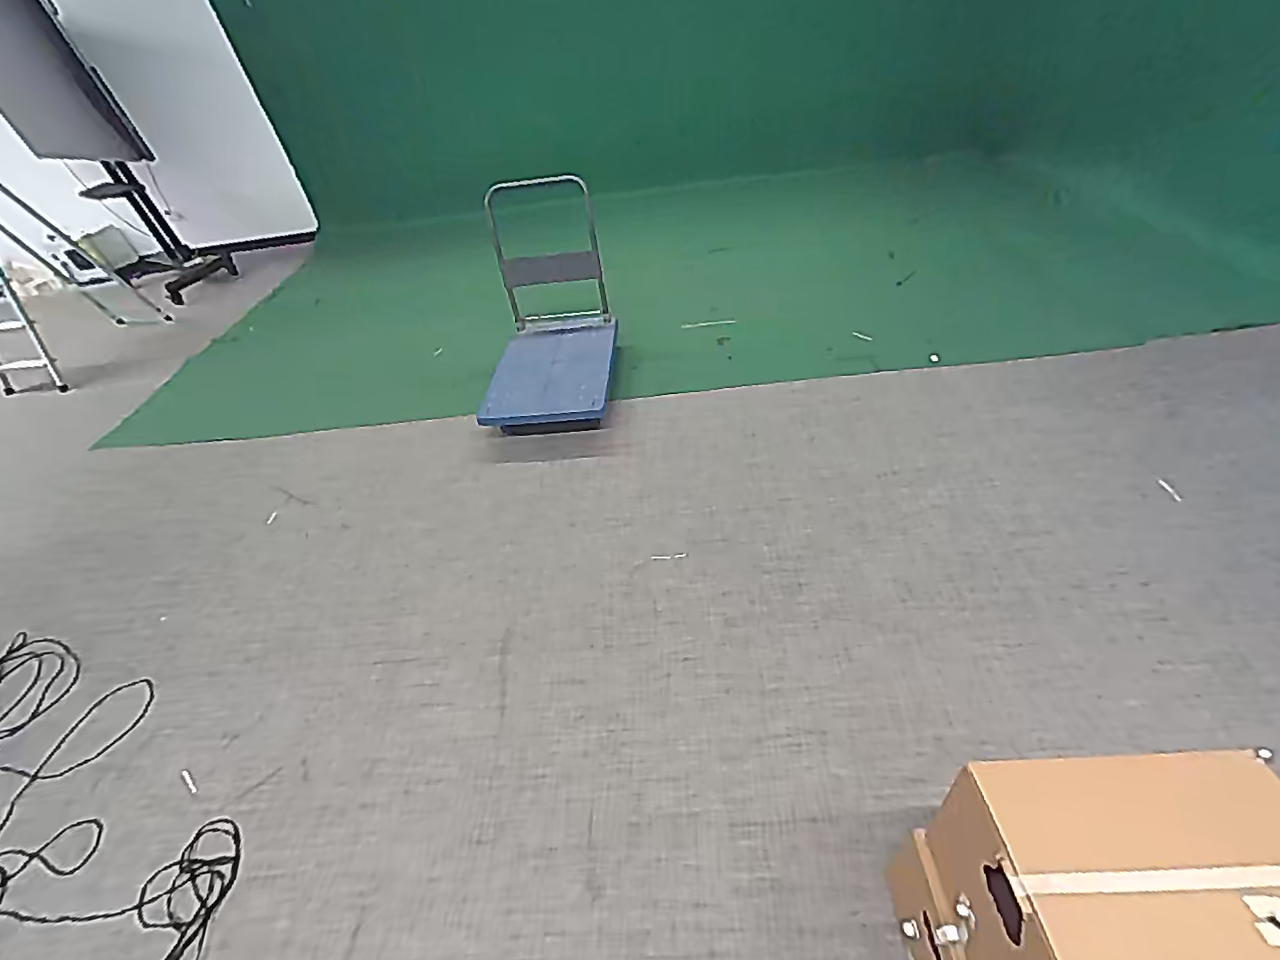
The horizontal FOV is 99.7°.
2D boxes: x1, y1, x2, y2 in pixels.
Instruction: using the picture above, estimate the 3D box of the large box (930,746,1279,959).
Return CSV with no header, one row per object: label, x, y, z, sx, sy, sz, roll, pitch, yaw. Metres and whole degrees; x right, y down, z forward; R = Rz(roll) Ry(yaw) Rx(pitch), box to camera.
large box,0.705,0.613,0.767,0.408,0.320,0.320,-5,39,5
